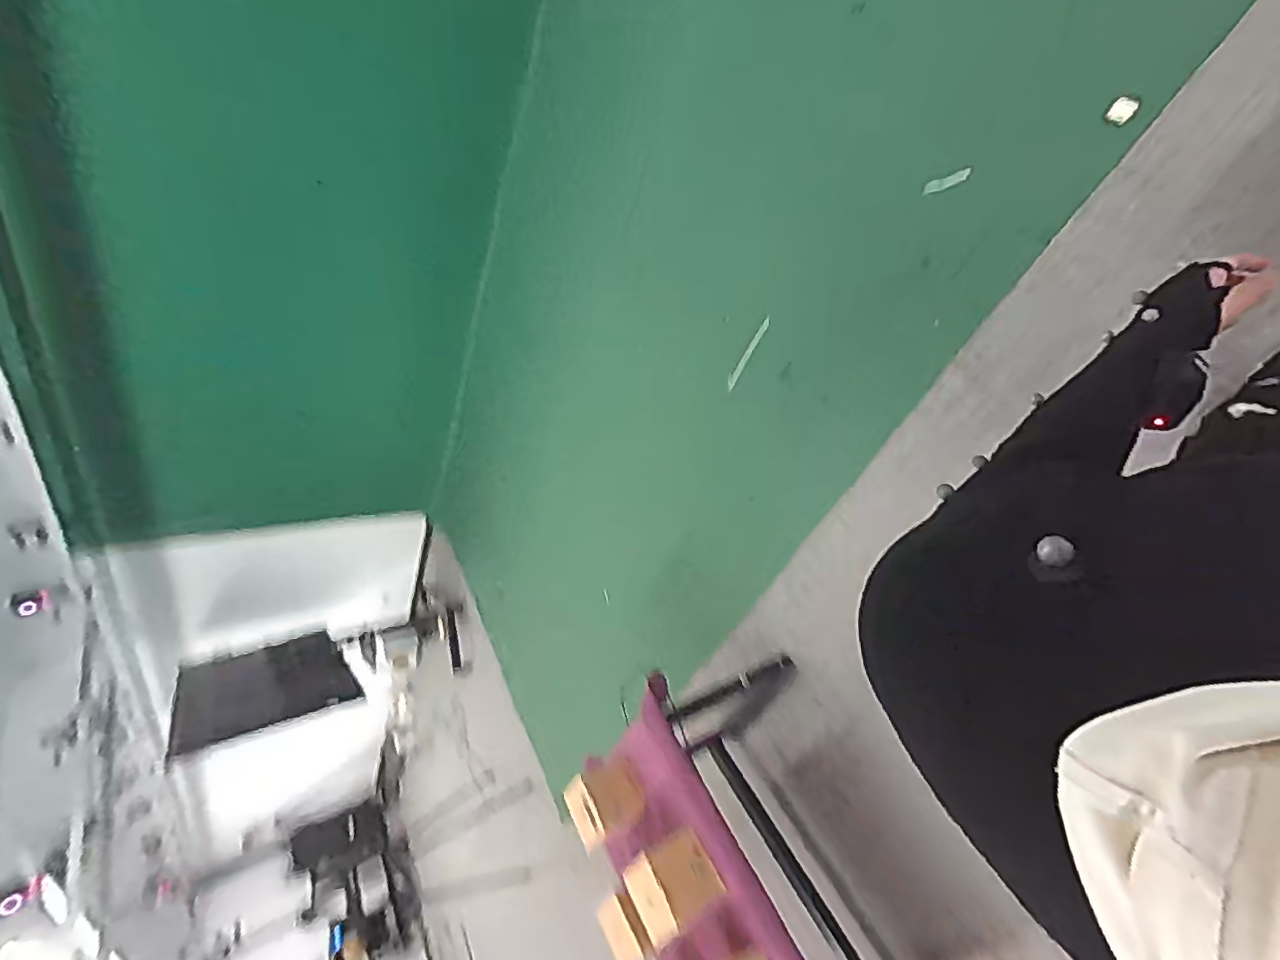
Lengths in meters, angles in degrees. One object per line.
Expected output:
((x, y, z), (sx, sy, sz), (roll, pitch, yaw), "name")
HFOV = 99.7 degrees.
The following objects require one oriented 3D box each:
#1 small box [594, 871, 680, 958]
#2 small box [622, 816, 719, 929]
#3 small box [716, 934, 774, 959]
((-0.006, 1.258, 1.605), (0.168, 0.176, 0.179), (51, 130, 33), "small box")
((0.084, 1.055, 1.461), (0.168, 0.176, 0.179), (52, 132, 33), "small box")
((0.240, 1.239, 1.289), (0.168, 0.176, 0.179), (51, 133, 33), "small box")
